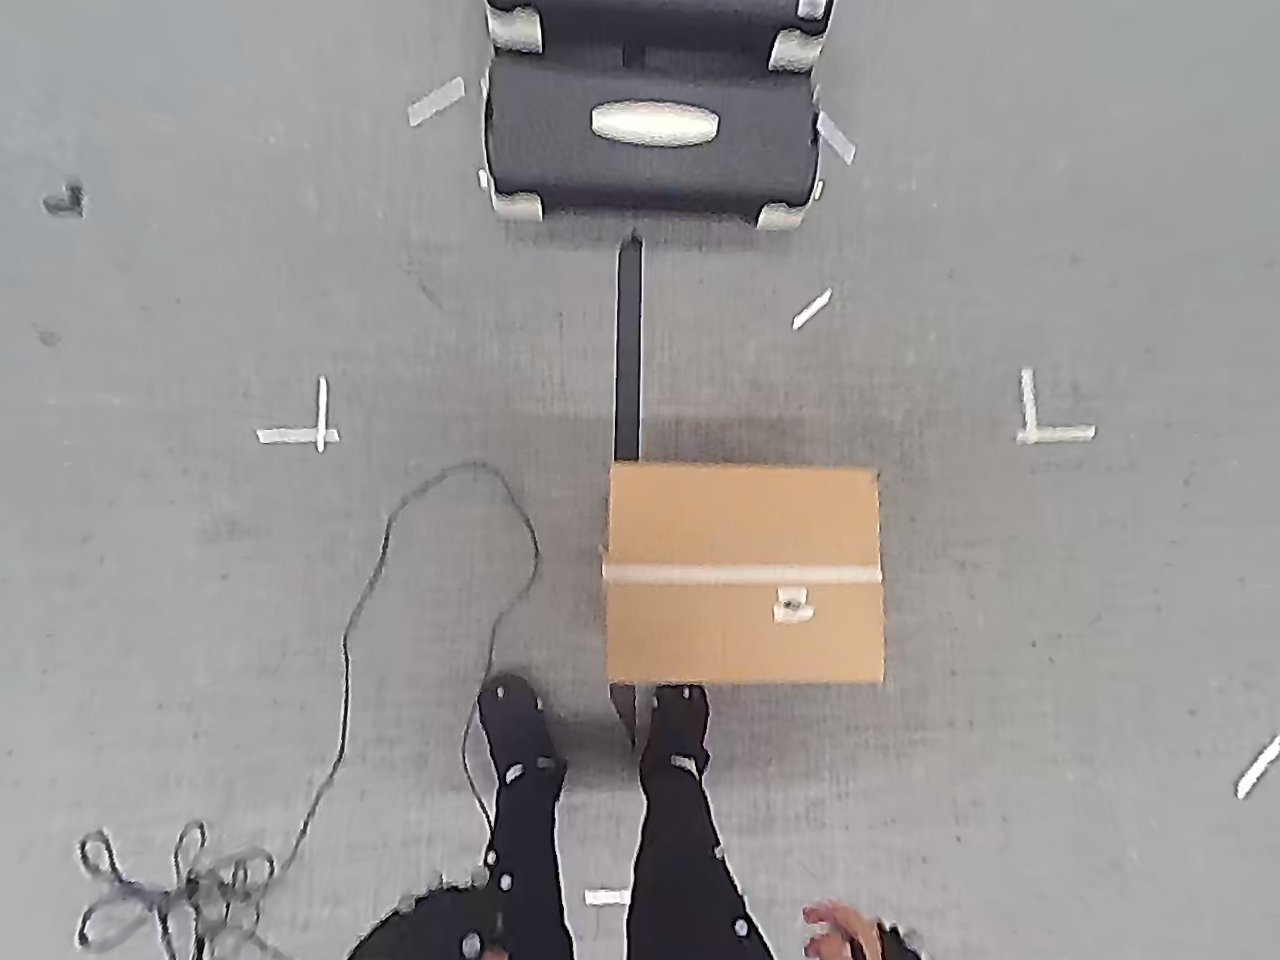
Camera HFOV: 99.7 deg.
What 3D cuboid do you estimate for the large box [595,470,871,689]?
[{"bbox_3d":[0.127,0.154,0.935,0.408,0.320,0.320,0,86,-4],"label":"large box"}]

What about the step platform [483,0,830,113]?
[{"bbox_3d":[0.033,-0.982,1.094,0.684,0.204,0.286,6,84,-4],"label":"step platform"}]
